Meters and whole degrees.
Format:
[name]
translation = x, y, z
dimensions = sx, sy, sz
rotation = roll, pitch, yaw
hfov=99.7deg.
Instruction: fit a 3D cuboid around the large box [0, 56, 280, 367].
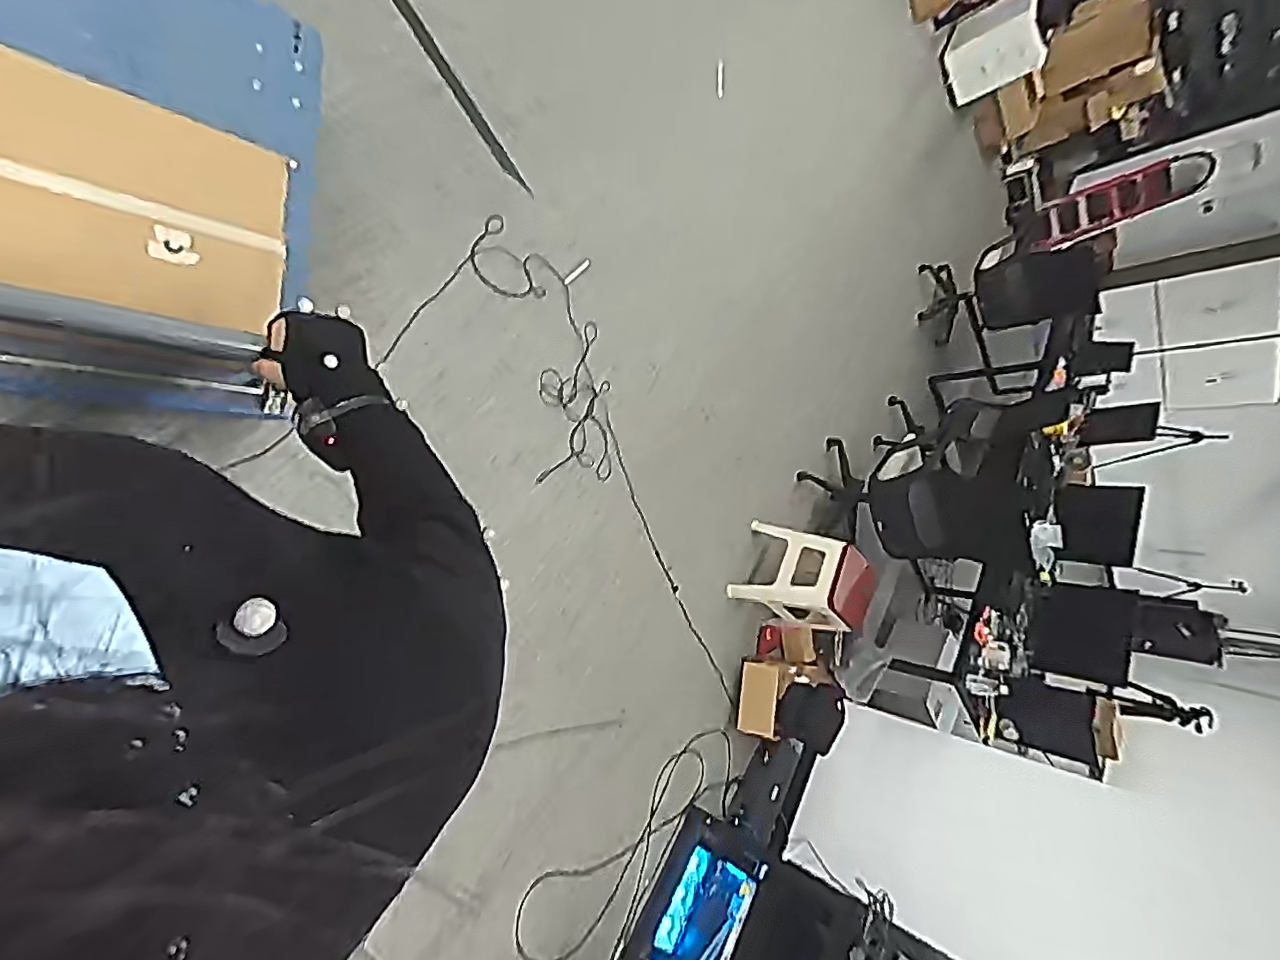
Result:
[large box]
translation = -0.853, -0.387, 0.865
dimensions = 0.408, 0.320, 0.320
rotation = 4, 88, -44
